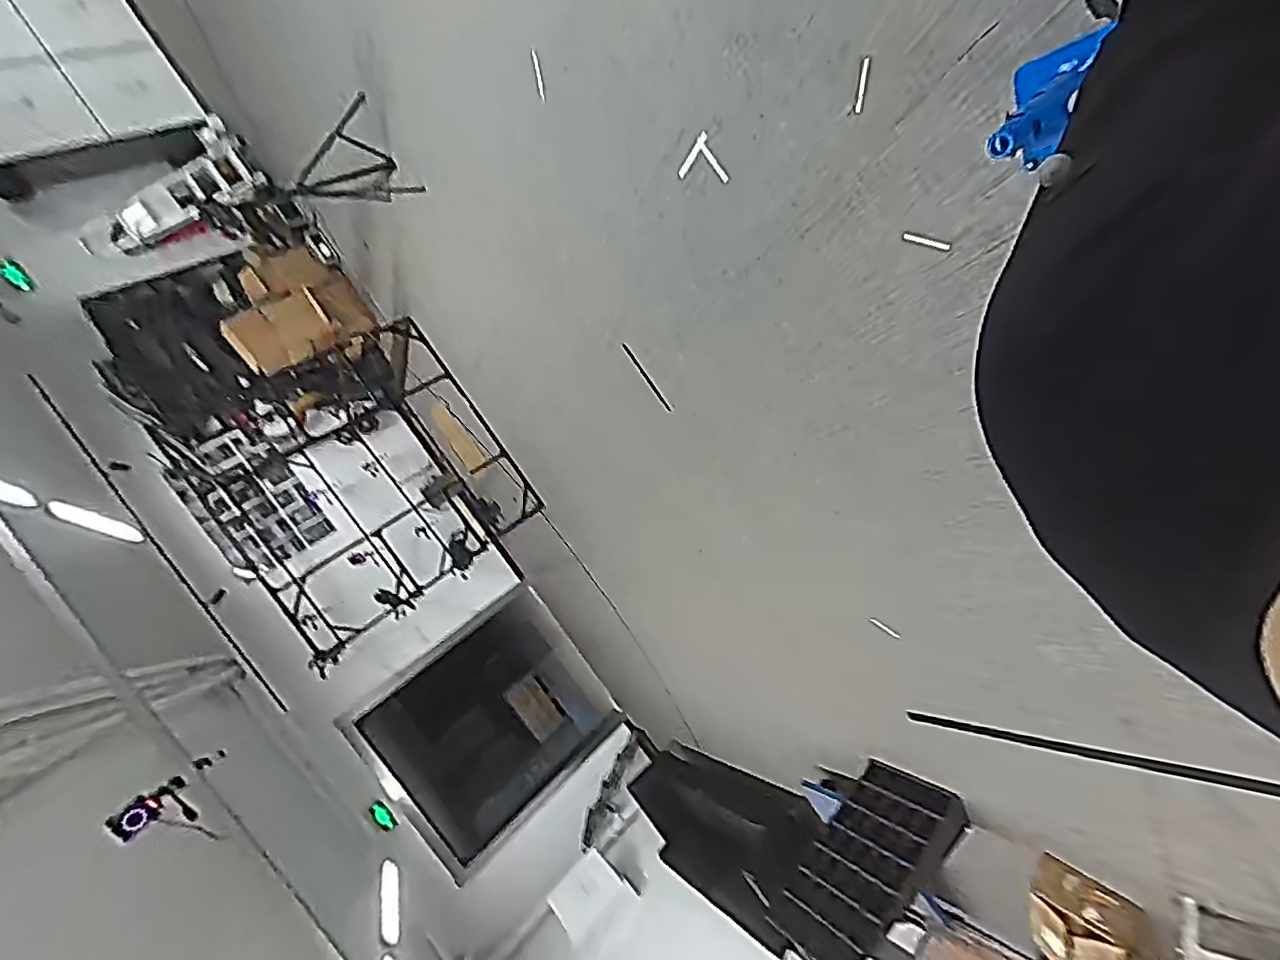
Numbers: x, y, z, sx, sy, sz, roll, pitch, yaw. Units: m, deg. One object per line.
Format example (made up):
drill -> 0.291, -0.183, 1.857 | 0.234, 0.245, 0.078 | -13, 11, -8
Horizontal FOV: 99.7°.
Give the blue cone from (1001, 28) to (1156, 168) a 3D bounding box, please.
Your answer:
blue cone -> 0.744, -0.642, 0.969 | 0.193, 0.380, 0.192 | 12, 132, 54
